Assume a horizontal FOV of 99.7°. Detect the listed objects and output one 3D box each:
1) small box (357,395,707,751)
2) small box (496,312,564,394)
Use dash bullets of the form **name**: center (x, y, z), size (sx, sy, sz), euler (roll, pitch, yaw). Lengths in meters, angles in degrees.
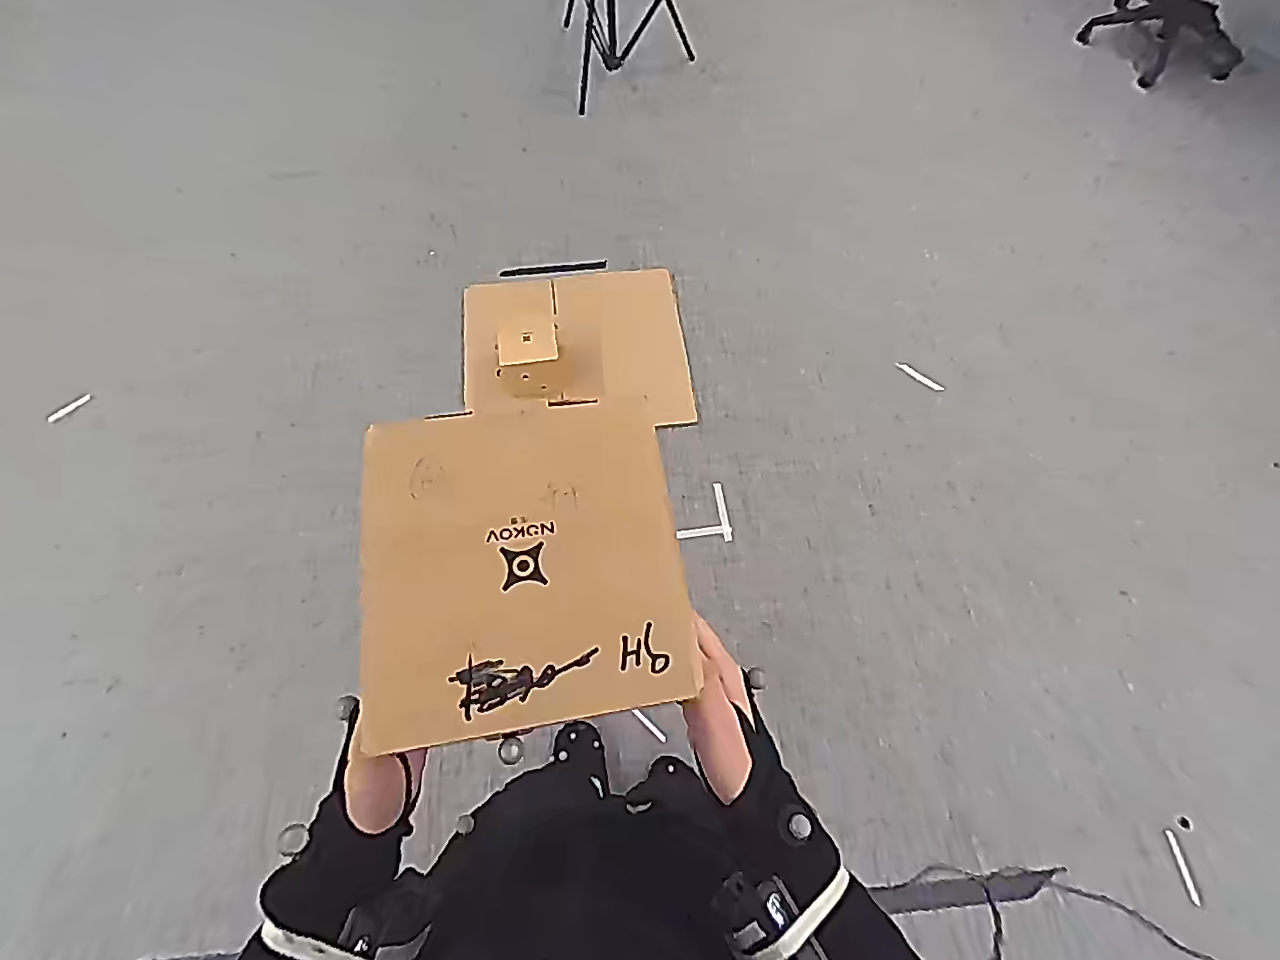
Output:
- **small box**: center (-0.064, 0.067, 0.358), size (0.168, 0.176, 0.179), euler (-8, 68, -6)
- **small box**: center (-0.323, -0.369, 1.608), size (0.168, 0.176, 0.179), euler (-8, 67, -4)
